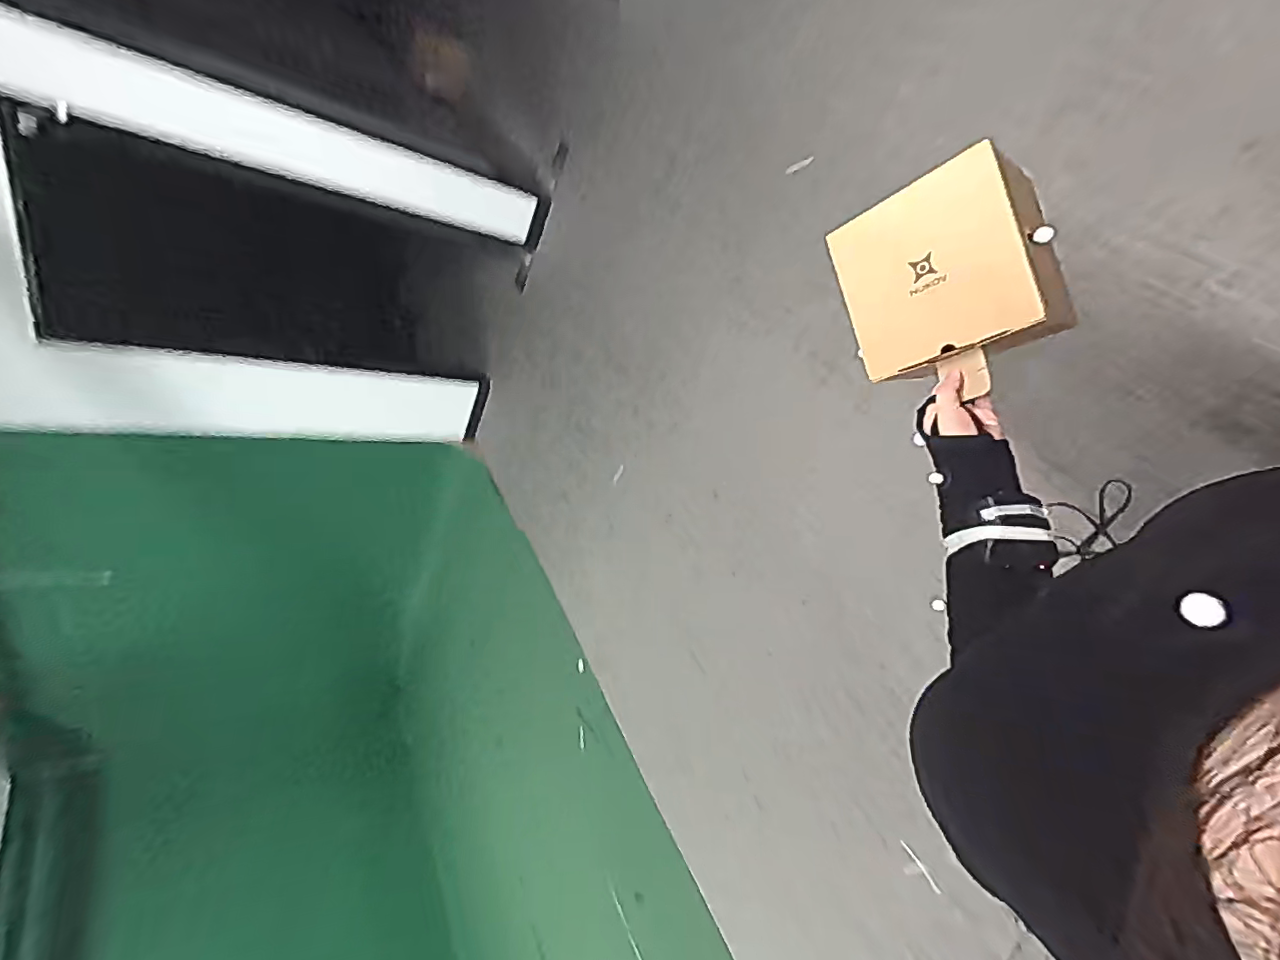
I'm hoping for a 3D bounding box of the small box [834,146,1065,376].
[{"bbox_3d":[0.349,-0.225,0.609,0.168,0.176,0.179,-16,88,46],"label":"small box"}]
